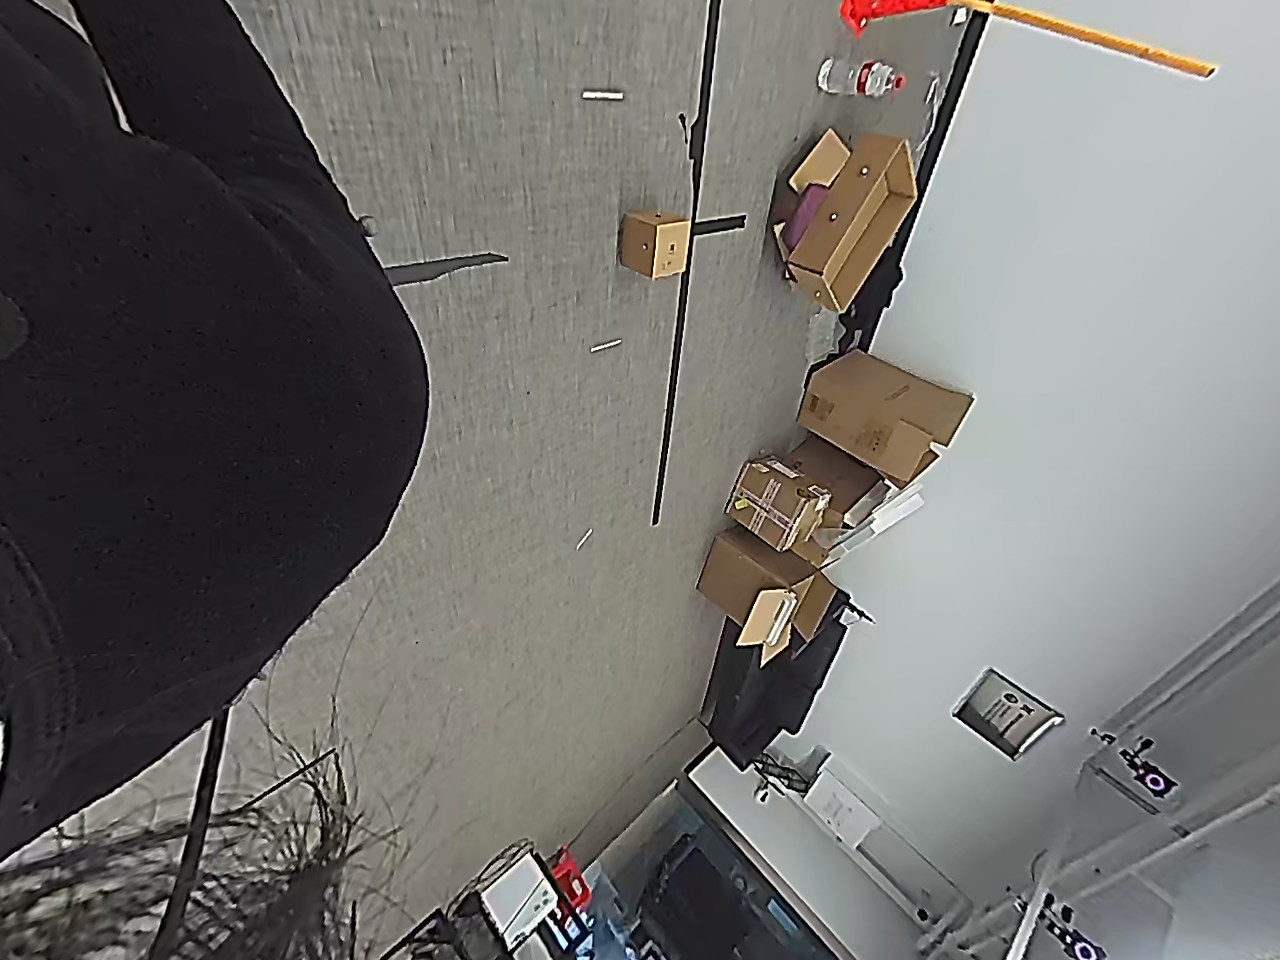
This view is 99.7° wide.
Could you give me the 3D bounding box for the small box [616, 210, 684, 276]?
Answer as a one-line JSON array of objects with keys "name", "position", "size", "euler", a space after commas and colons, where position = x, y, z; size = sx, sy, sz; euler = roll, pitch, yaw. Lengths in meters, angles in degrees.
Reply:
[{"name": "small box", "position": [0.031, -0.839, 1.899], "size": [0.168, 0.176, 0.179], "euler": [-27, 139, -34]}]
